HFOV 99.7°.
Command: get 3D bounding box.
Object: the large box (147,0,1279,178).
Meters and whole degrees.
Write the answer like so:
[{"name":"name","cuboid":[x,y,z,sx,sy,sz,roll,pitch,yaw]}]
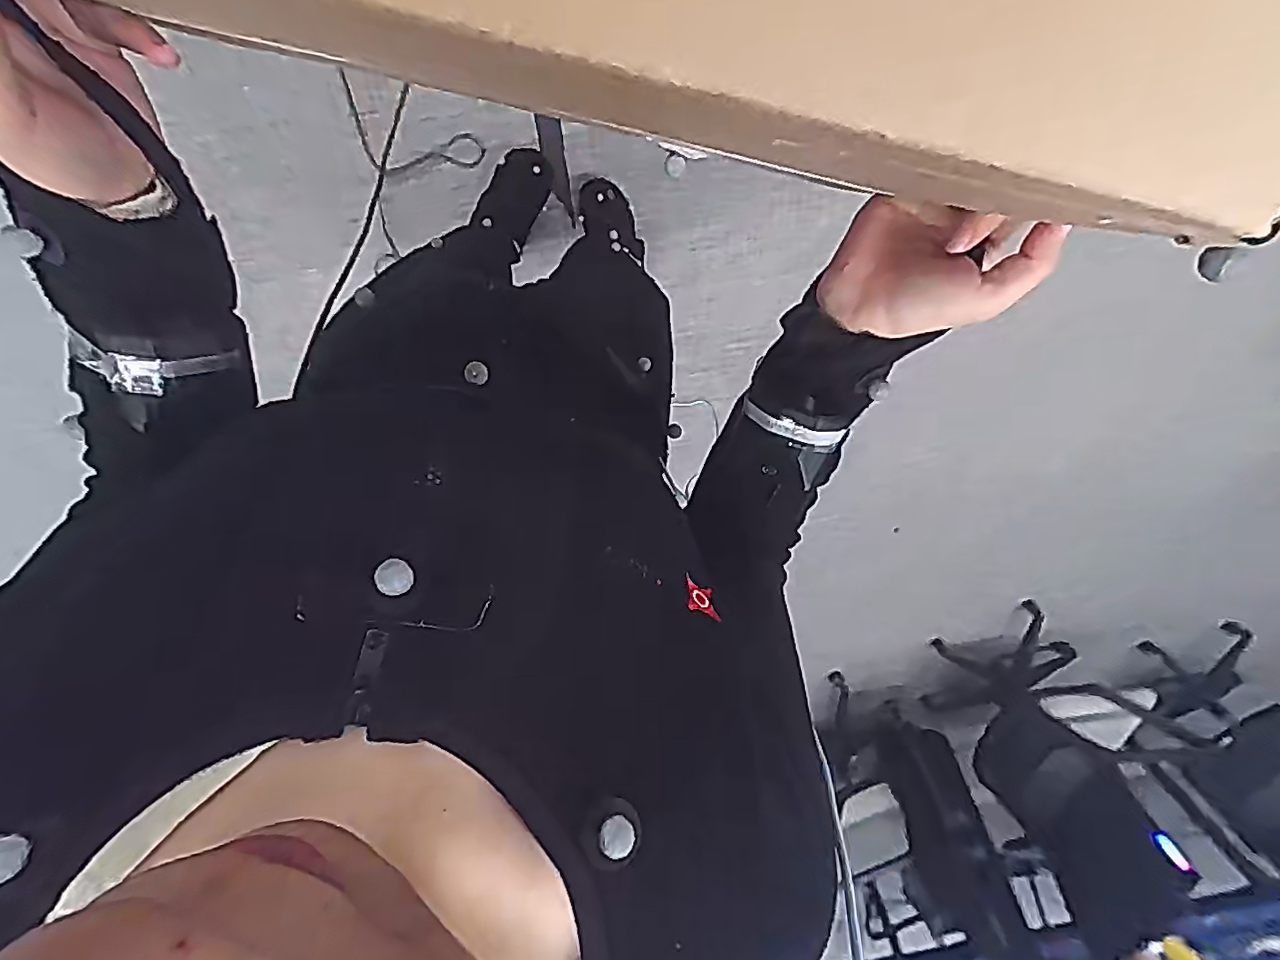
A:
[{"name":"large box","cuboid":[-0.008,-0.304,0.152,0.408,0.320,0.320,5,123,-11]}]
